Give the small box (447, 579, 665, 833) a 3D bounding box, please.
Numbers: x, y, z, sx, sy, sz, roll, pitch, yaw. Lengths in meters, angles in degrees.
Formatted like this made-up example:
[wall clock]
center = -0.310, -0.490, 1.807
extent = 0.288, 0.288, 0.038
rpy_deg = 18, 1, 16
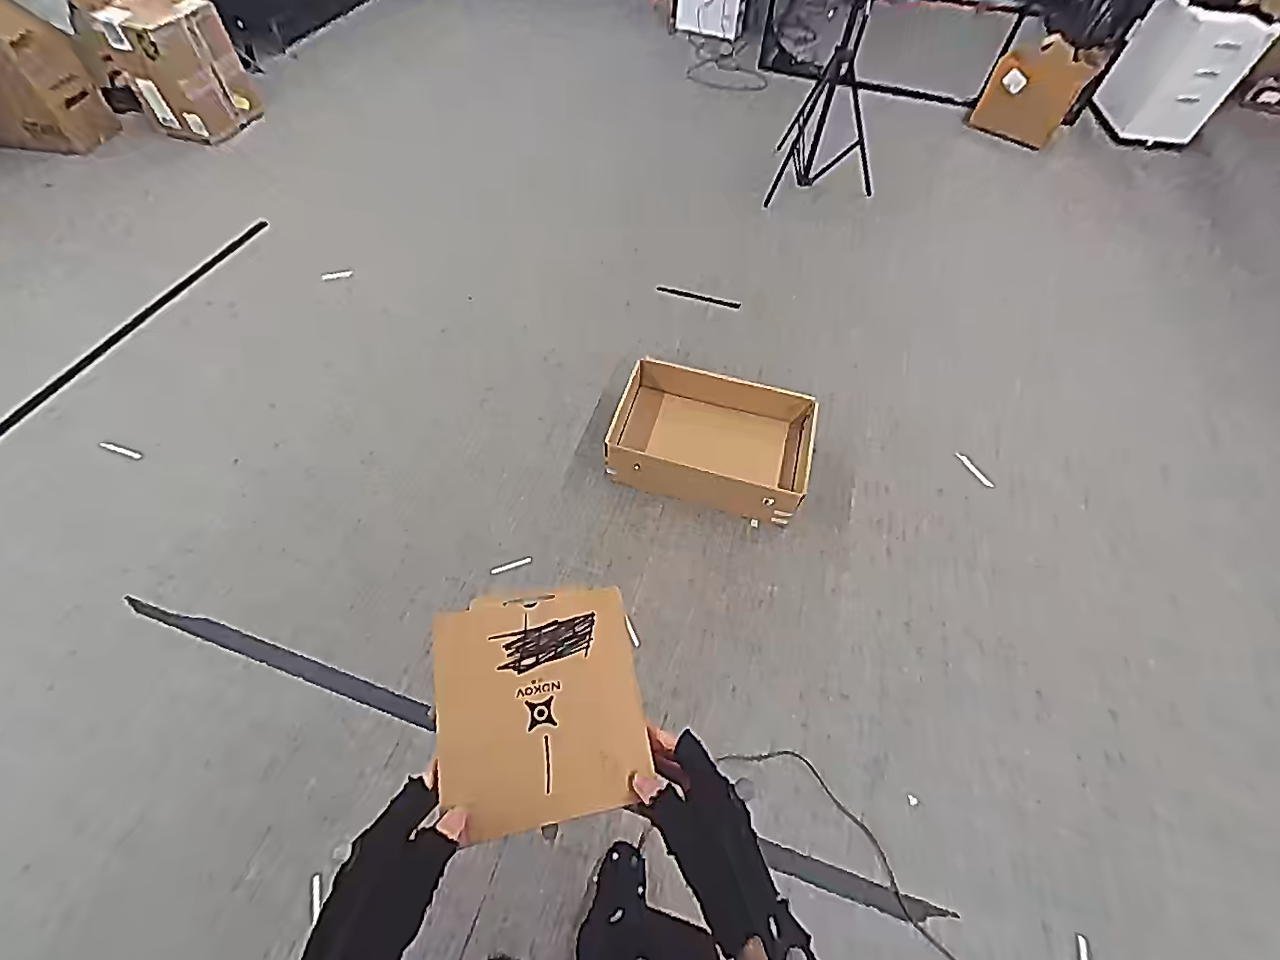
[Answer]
[small box]
center = -0.086, 0.213, 0.515
extent = 0.168, 0.176, 0.179
rpy_deg = -6, 63, -12
